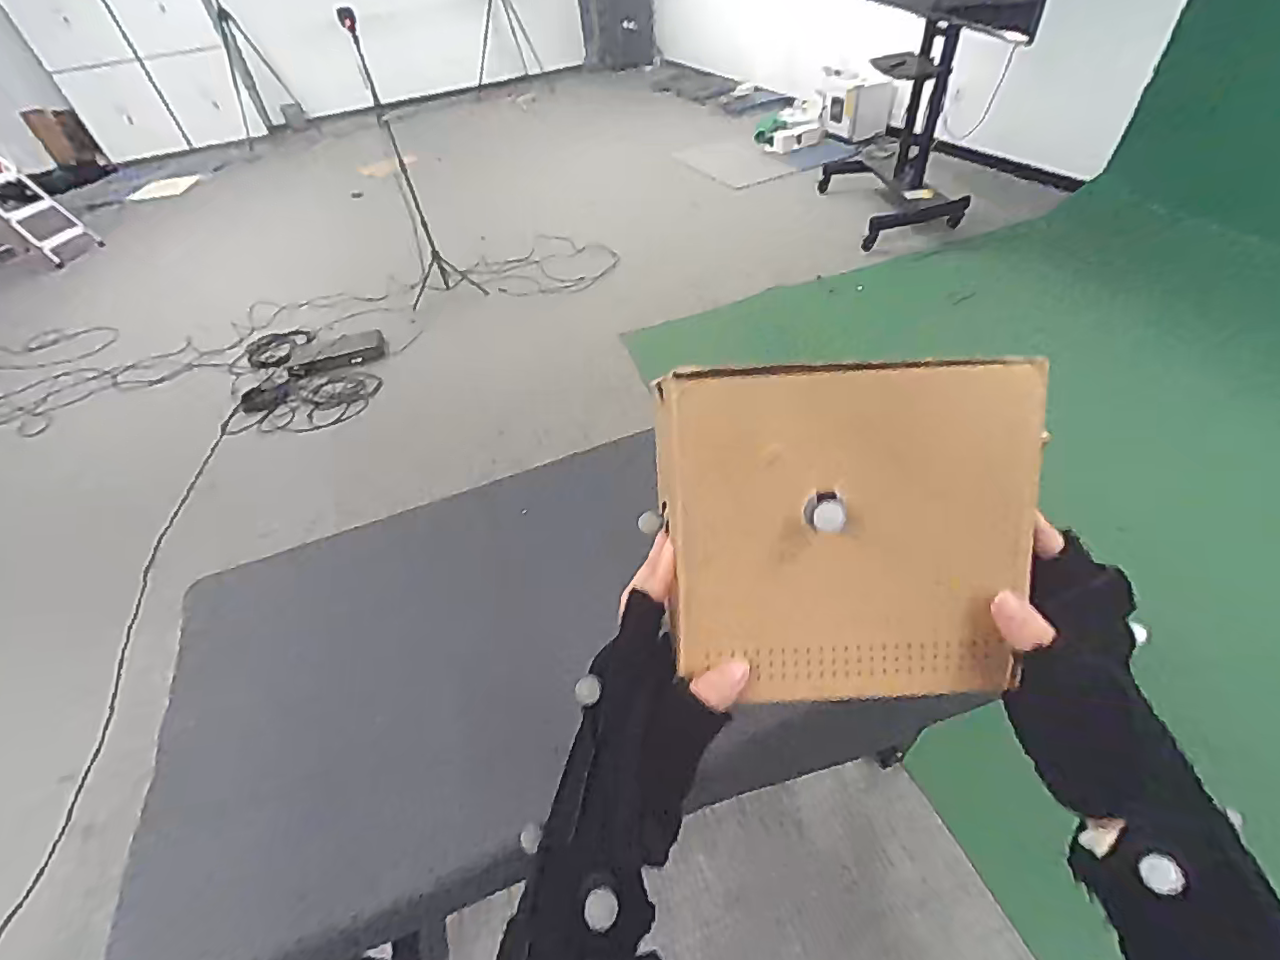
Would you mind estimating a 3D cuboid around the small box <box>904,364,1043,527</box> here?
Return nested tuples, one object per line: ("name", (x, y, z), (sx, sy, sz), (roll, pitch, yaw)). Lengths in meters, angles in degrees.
("small box", (0.306, -0.003, 0.634), (0.179, 0.176, 0.168), (-22, 45, -11))

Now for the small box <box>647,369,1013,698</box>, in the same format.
("small box", (0.099, 0.022, 0.348), (0.179, 0.176, 0.168), (-3, 11, 0))
